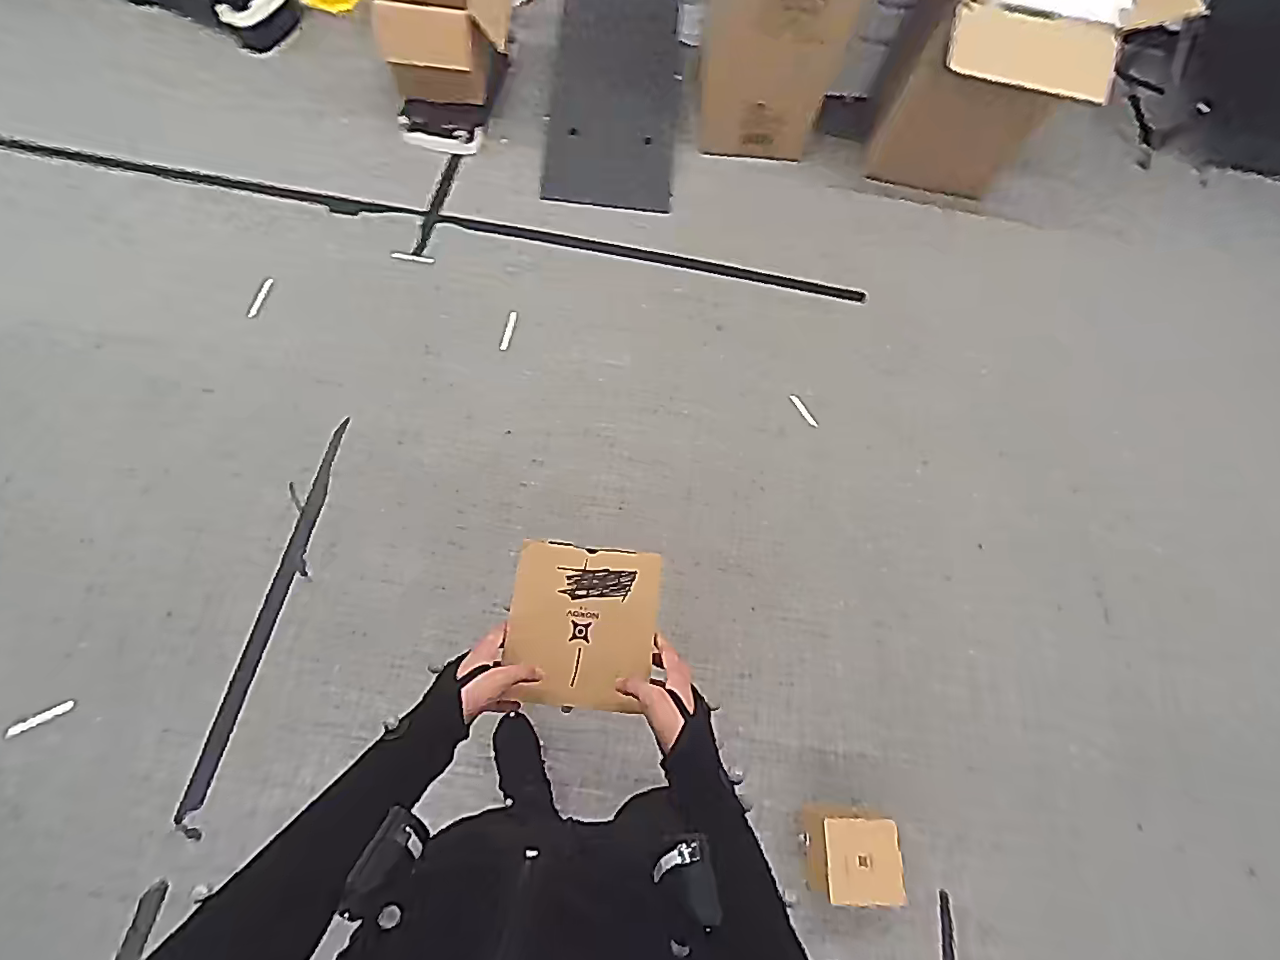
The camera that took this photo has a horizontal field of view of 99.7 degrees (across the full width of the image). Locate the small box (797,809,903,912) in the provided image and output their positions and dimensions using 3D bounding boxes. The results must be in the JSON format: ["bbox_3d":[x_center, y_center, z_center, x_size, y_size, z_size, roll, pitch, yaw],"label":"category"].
[{"bbox_3d":[0.491,0.895,1.285,0.179,0.176,0.168,5,68,-4],"label":"small box"}]

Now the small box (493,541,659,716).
[{"bbox_3d":[-0.076,0.186,0.680,0.168,0.176,0.179,8,72,-4],"label":"small box"}]
